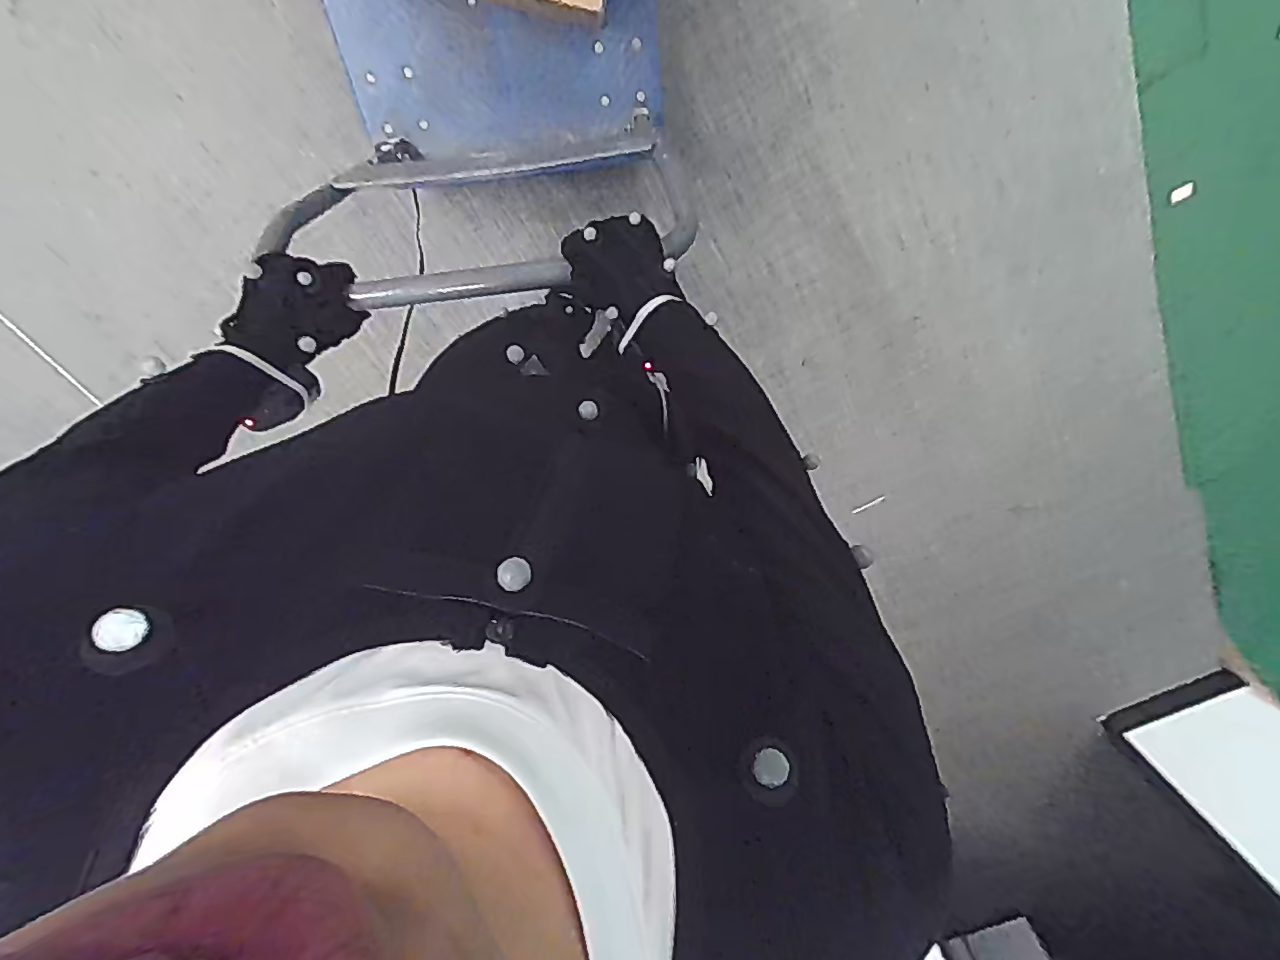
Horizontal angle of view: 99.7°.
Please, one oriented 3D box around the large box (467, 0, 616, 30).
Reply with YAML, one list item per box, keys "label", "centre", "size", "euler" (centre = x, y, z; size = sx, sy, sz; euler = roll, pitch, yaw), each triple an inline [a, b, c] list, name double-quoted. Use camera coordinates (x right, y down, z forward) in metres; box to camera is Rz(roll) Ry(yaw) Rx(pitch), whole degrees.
- label: "large box"
  centre: [-0.217, -0.858, 0.740]
  size: [0.408, 0.320, 0.320]
  euler: [8, 125, -8]
